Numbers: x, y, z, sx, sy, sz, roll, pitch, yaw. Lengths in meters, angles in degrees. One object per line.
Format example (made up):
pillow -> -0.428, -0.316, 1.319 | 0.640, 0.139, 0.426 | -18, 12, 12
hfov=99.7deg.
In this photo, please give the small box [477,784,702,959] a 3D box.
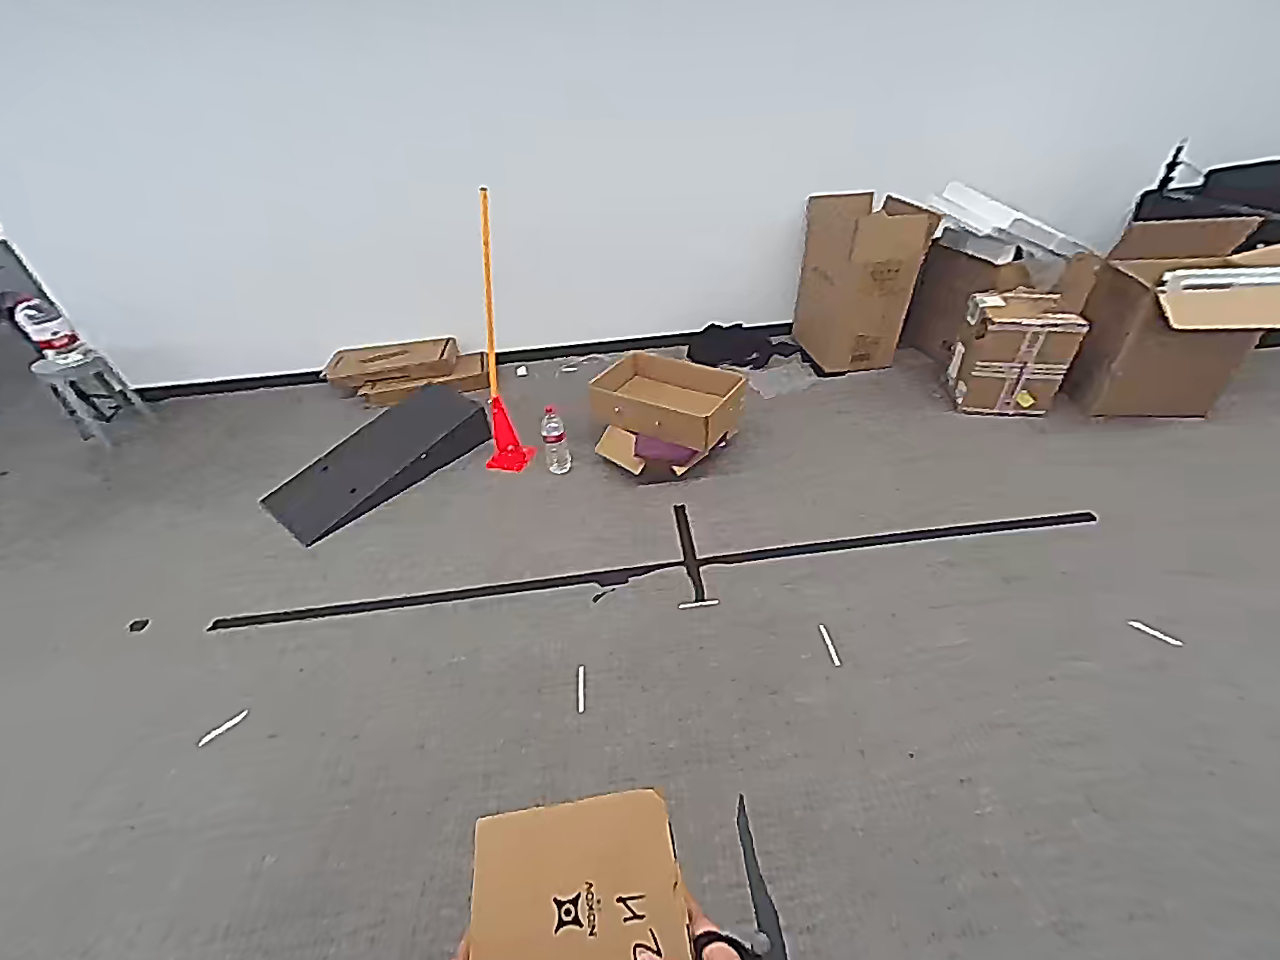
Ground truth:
small box -> -0.043, 0.408, 0.497 | 0.179, 0.176, 0.168 | -7, 44, -6
